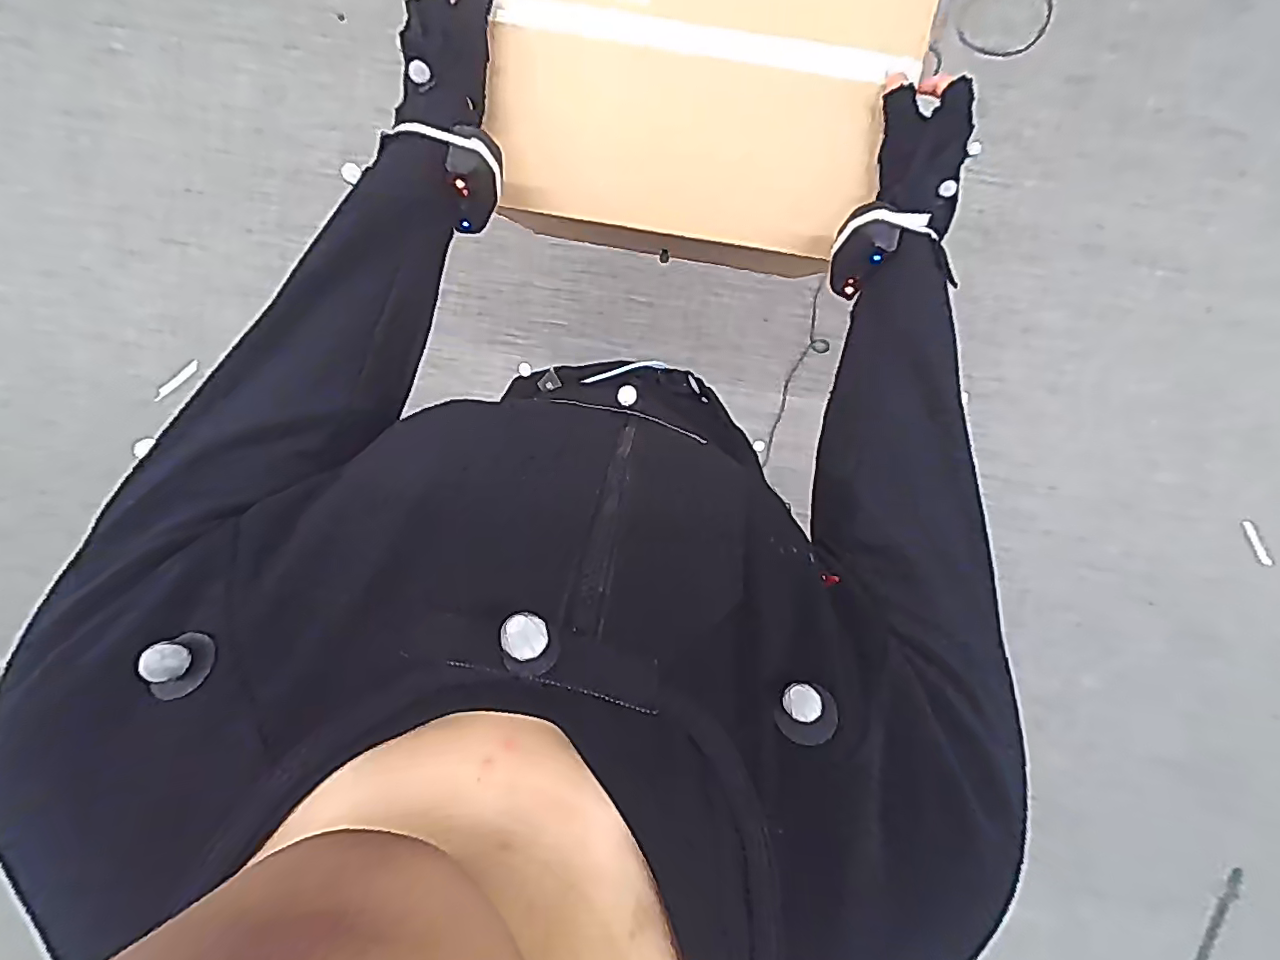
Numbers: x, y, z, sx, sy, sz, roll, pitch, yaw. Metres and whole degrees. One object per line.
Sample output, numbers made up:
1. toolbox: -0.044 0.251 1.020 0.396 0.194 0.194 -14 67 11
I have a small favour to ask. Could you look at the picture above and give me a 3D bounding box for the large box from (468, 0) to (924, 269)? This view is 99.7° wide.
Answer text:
1. large box: 0.054 -0.439 0.632 0.408 0.320 0.320 9 108 0
